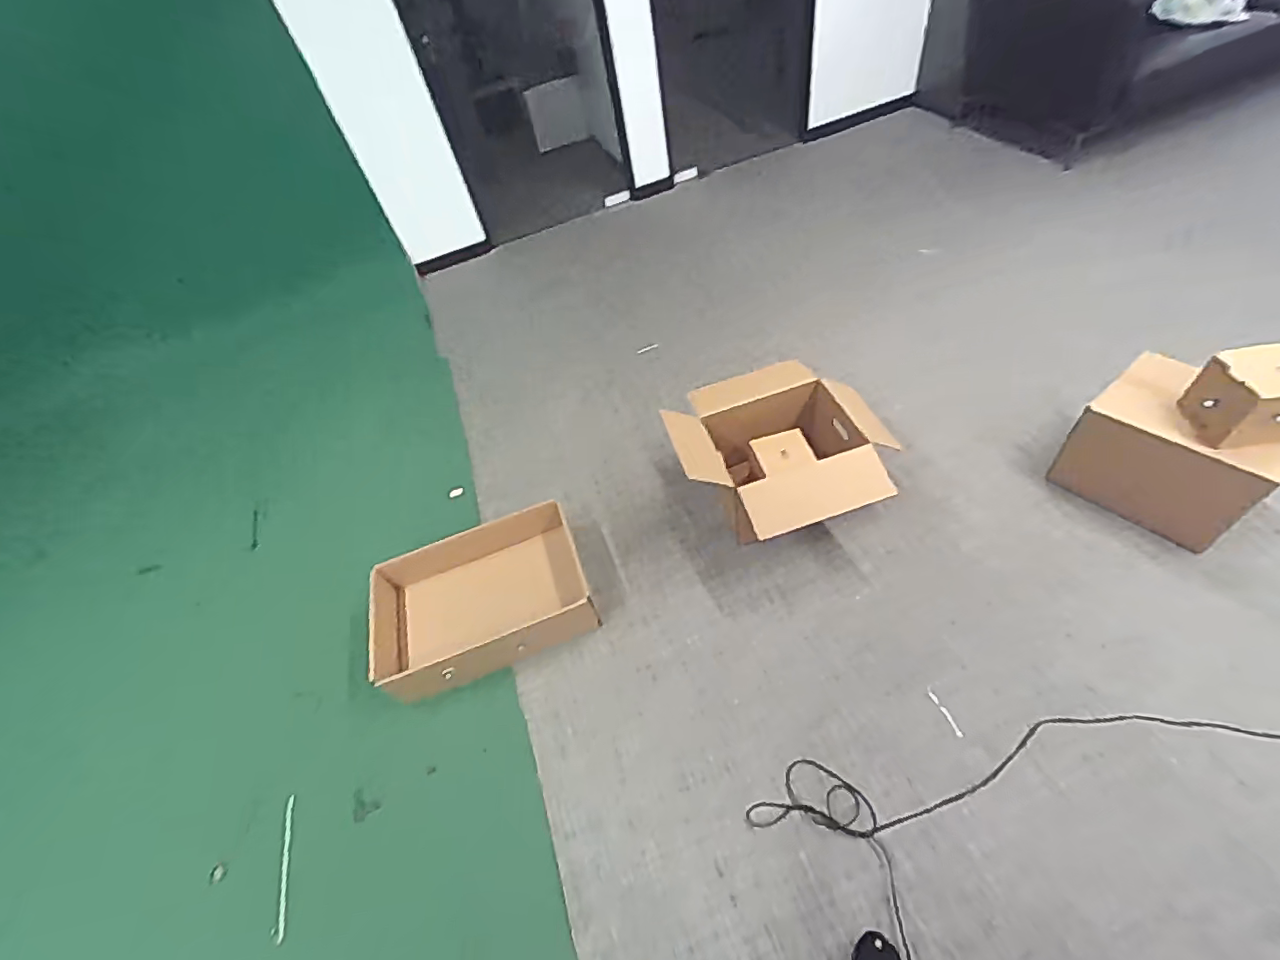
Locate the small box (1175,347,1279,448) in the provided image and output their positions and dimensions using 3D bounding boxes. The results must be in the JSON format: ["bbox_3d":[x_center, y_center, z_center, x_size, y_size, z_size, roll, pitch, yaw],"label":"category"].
[{"bbox_3d":[1.449,-0.192,1.295,0.179,0.176,0.168,-7,50,10],"label":"small box"}]
